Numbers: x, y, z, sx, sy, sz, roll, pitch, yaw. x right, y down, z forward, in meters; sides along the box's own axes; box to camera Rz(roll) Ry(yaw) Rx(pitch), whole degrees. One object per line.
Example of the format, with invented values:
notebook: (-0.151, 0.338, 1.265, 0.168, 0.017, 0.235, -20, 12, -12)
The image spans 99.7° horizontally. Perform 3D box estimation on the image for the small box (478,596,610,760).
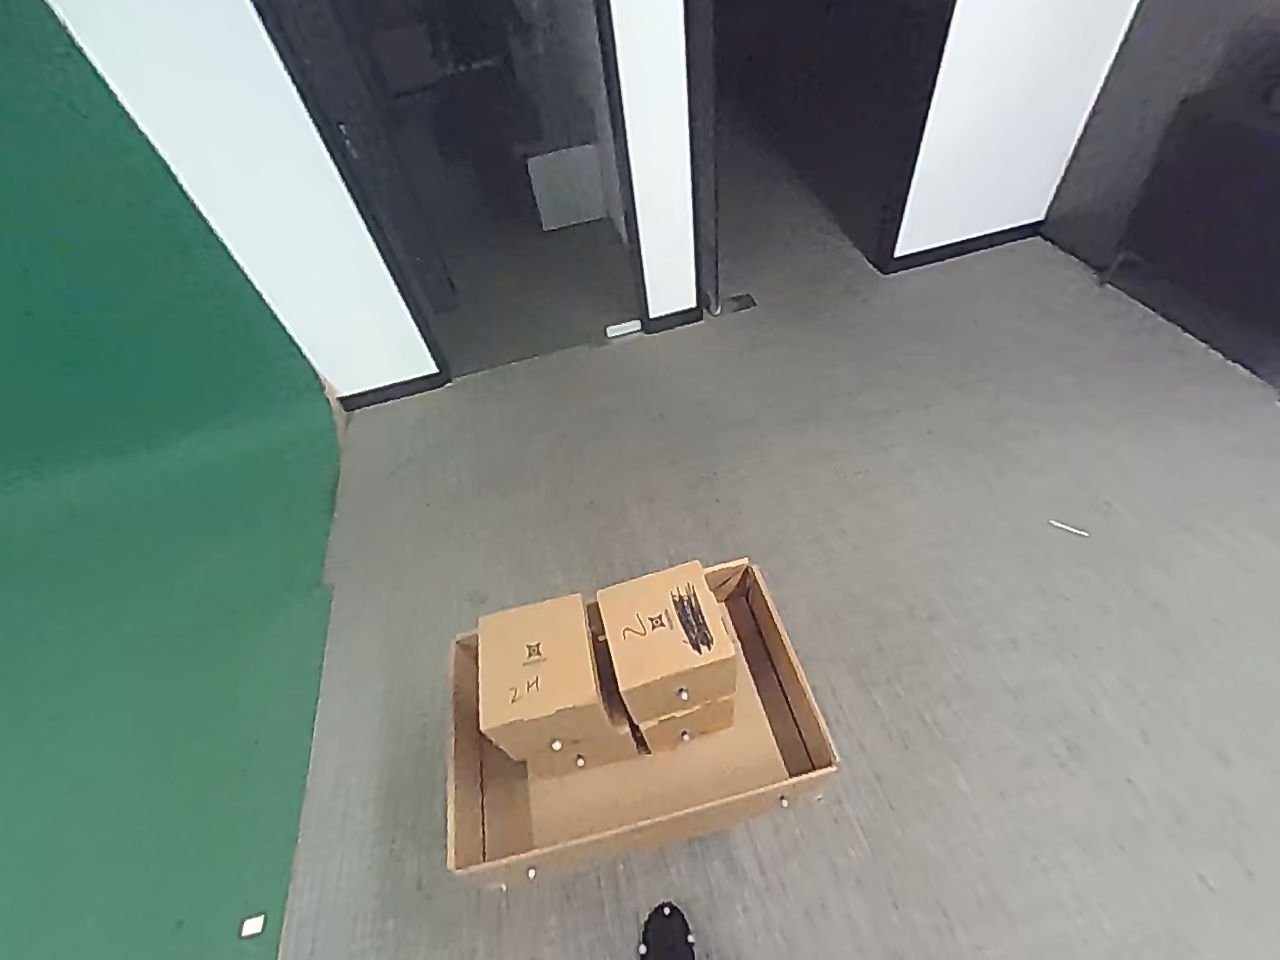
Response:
small box: (-0.148, 0.313, 0.853, 0.168, 0.176, 0.179, -12, 49, -2)
